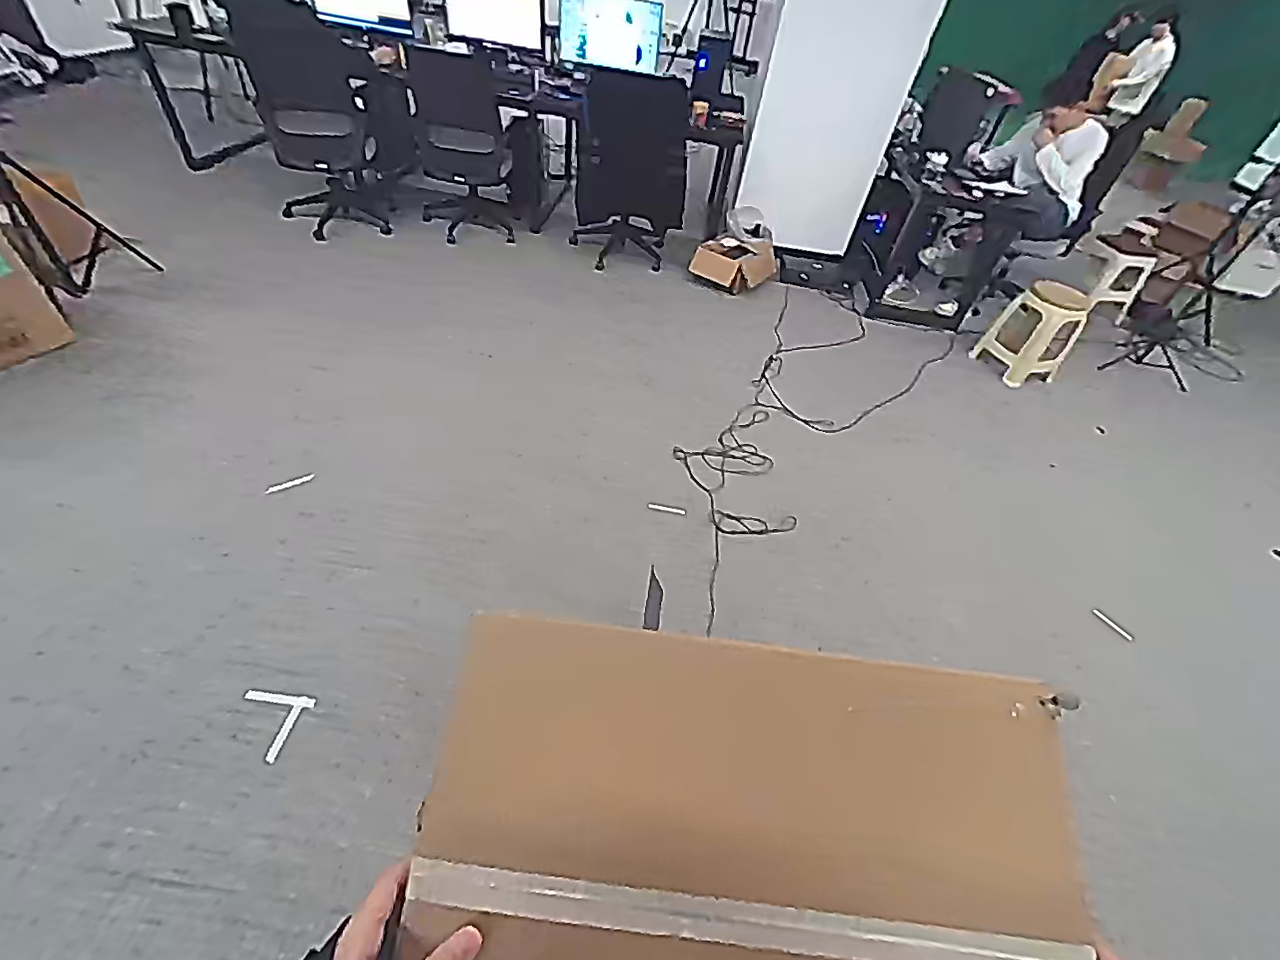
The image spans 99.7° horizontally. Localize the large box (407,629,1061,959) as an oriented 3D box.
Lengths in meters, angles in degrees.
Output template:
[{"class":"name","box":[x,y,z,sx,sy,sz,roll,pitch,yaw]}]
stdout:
[{"class":"large box","box":[0.054,0.322,0.471,0.408,0.320,0.320,6,69,0]}]
